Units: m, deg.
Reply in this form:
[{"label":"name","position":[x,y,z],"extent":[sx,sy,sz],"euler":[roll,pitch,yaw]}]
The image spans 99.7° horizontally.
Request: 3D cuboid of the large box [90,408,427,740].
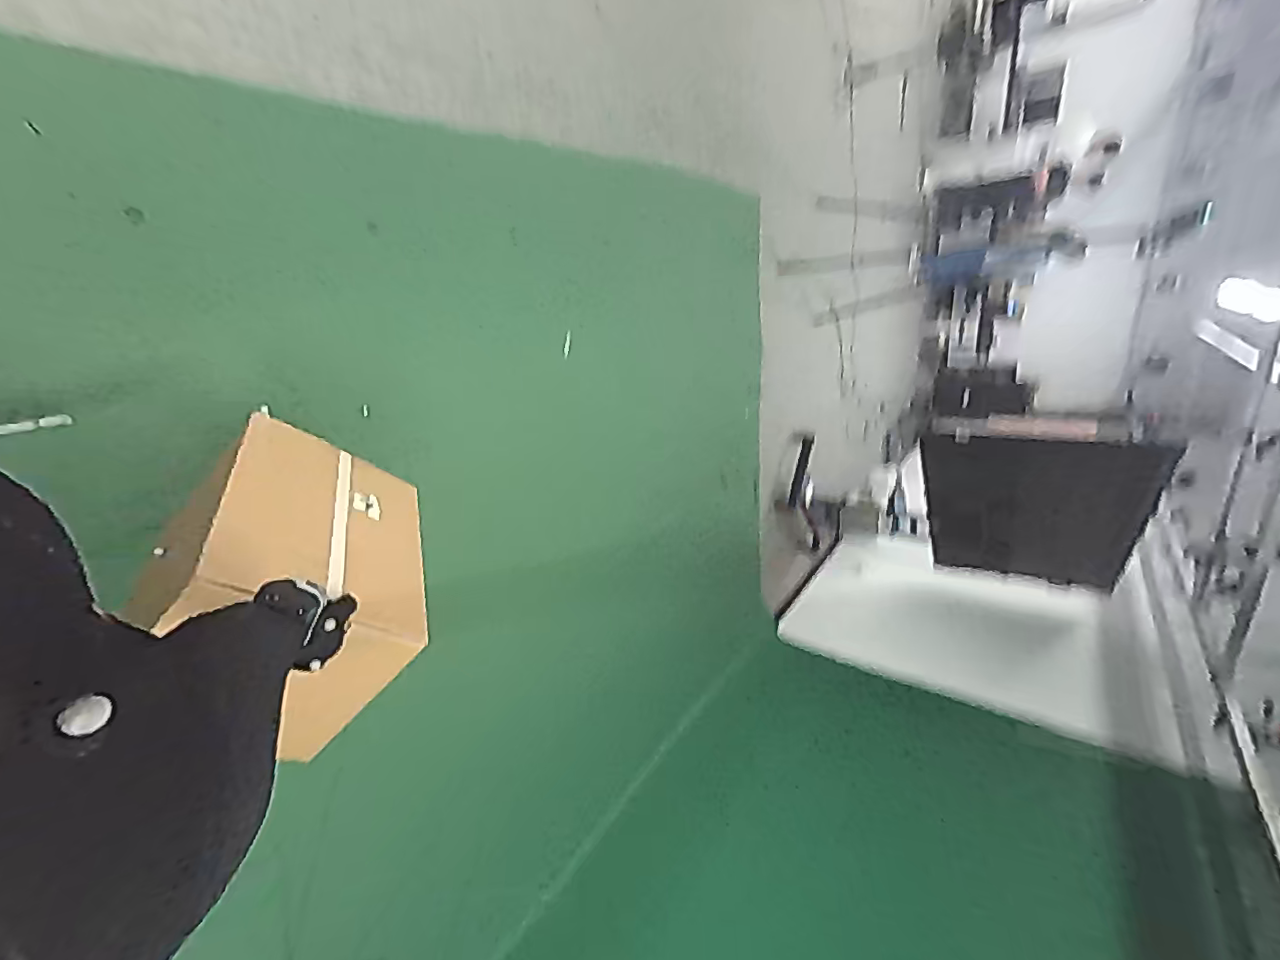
[{"label":"large box","position":[-0.600,0.159,0.912],"extent":[0.320,0.408,0.320],"euler":[-44,132,11]}]
